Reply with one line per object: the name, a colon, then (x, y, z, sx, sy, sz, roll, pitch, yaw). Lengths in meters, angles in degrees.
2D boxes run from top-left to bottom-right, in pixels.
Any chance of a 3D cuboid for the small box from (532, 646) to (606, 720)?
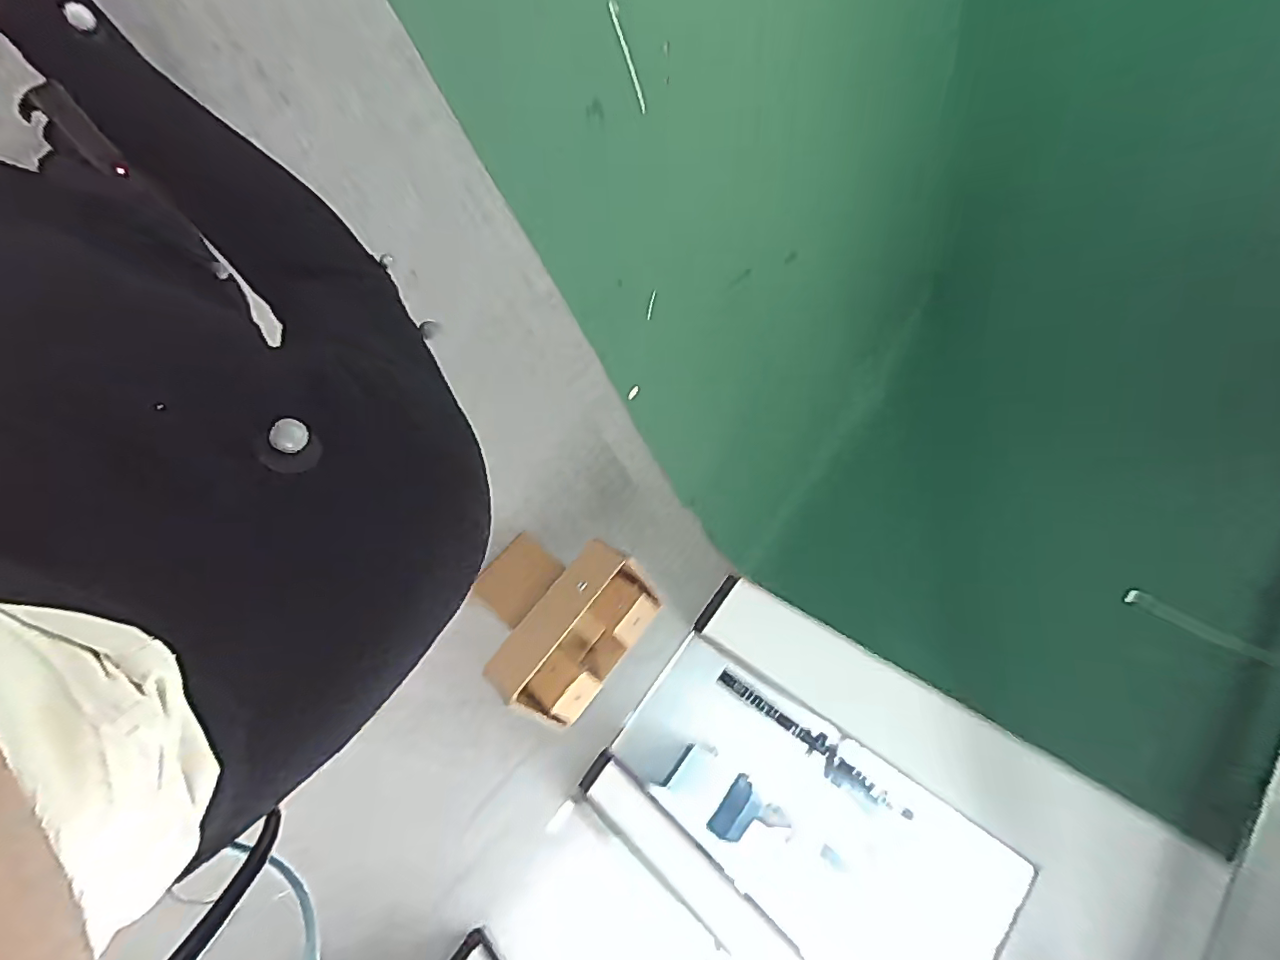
small box: (-0.260, 0.741, 1.983, 0.168, 0.176, 0.179, -49, 138, -15)
